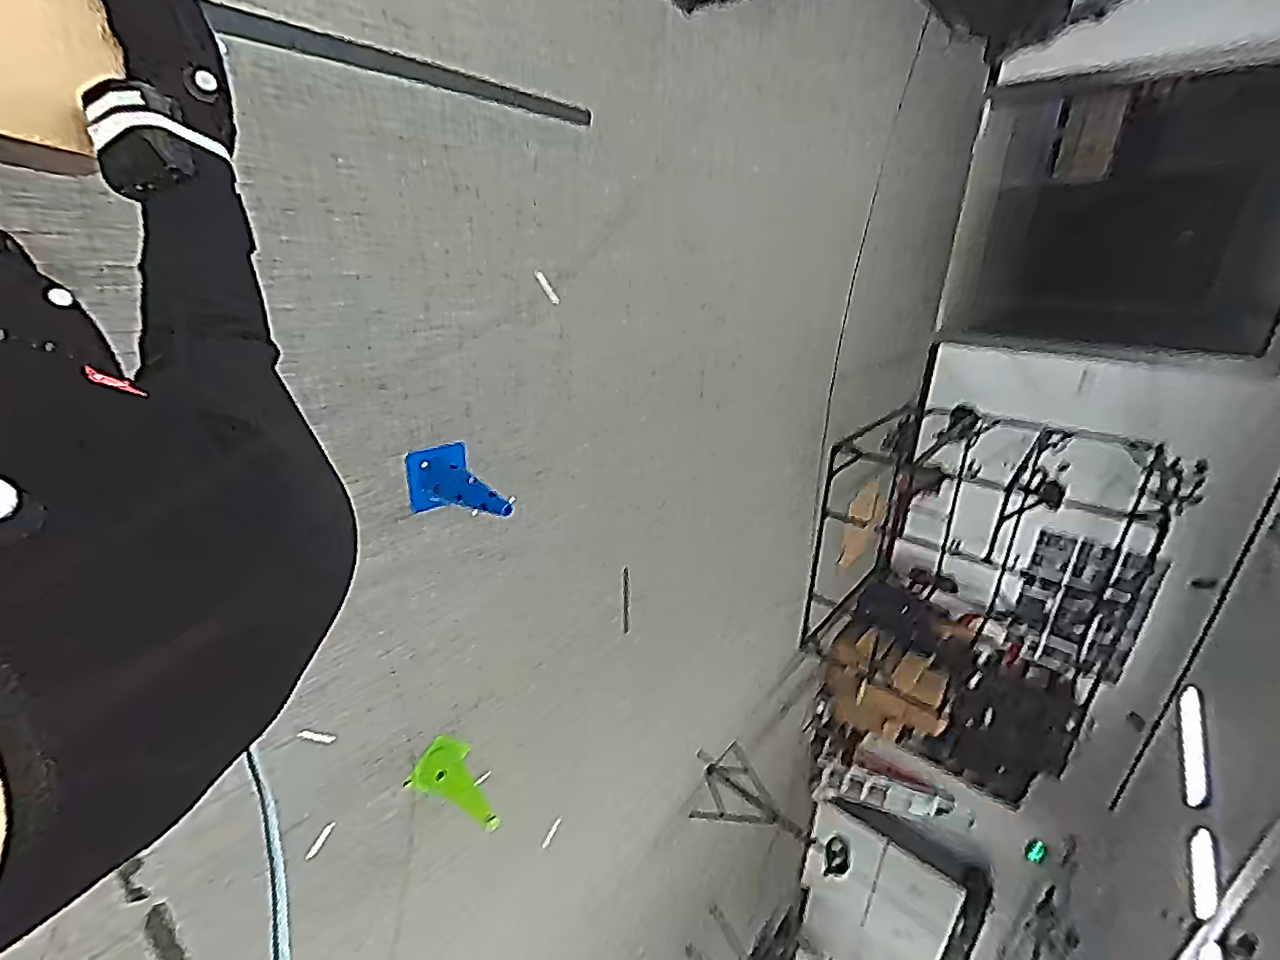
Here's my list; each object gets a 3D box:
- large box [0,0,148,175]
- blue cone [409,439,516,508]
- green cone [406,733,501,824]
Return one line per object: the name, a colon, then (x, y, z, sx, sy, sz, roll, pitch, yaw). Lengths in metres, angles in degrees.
large box: (-0.615, -0.414, 0.324, 0.408, 0.320, 0.320, -12, 117, -52)
blue cone: (-0.511, 0.018, 1.613, 0.192, 0.380, 0.193, -20, 121, -47)
green cone: (-0.623, 1.101, 1.922, 0.202, 0.368, 0.200, -57, 142, -20)
